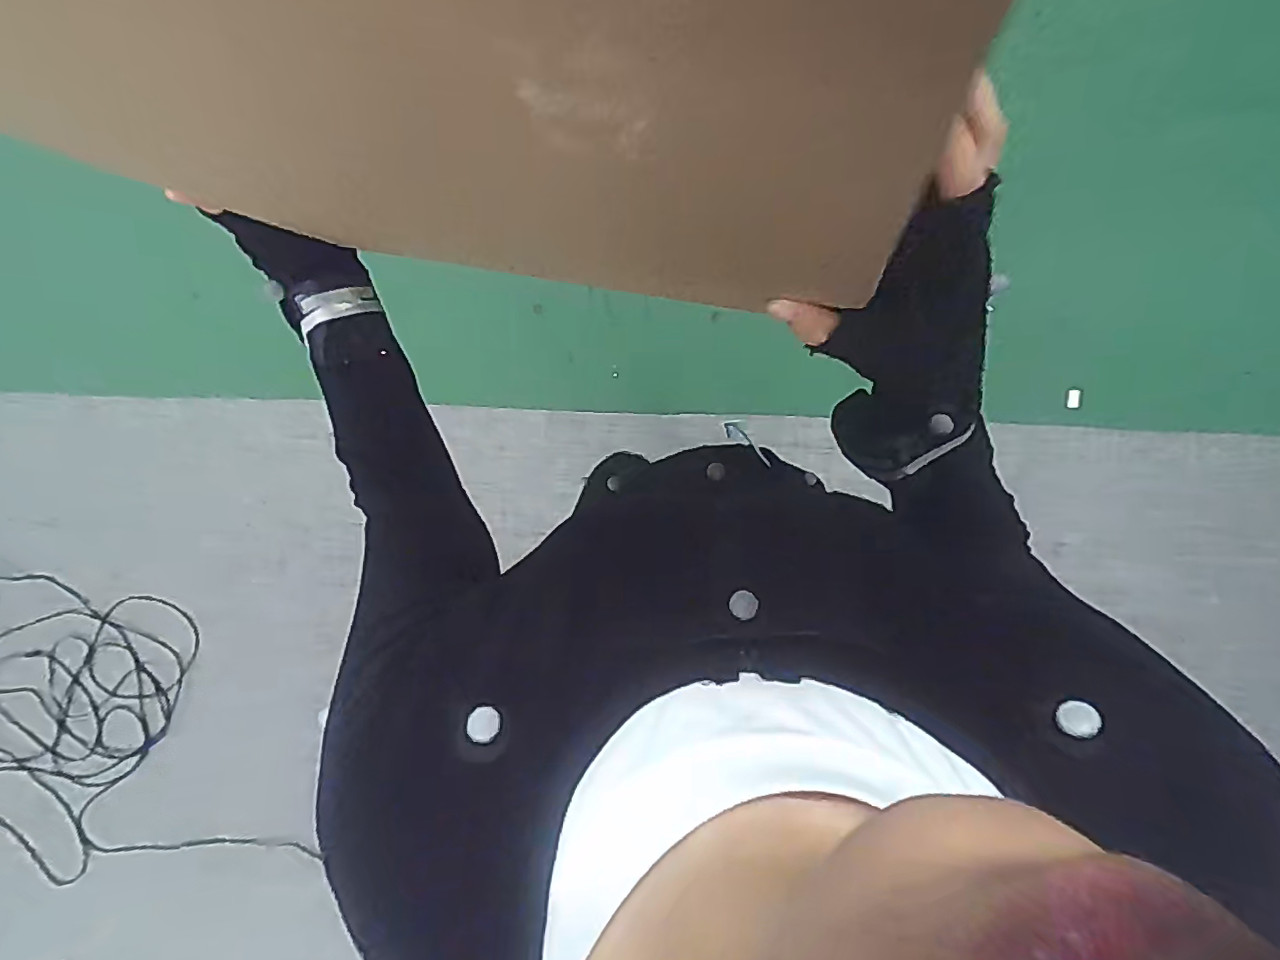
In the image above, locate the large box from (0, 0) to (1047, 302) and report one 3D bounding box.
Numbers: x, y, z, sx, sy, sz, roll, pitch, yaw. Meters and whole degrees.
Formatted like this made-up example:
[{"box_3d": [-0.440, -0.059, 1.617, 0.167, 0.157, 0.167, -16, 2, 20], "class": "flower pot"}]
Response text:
[{"box_3d": [-0.065, -0.276, 0.213, 0.408, 0.320, 0.320, 13, 102, 15], "class": "large box"}]
